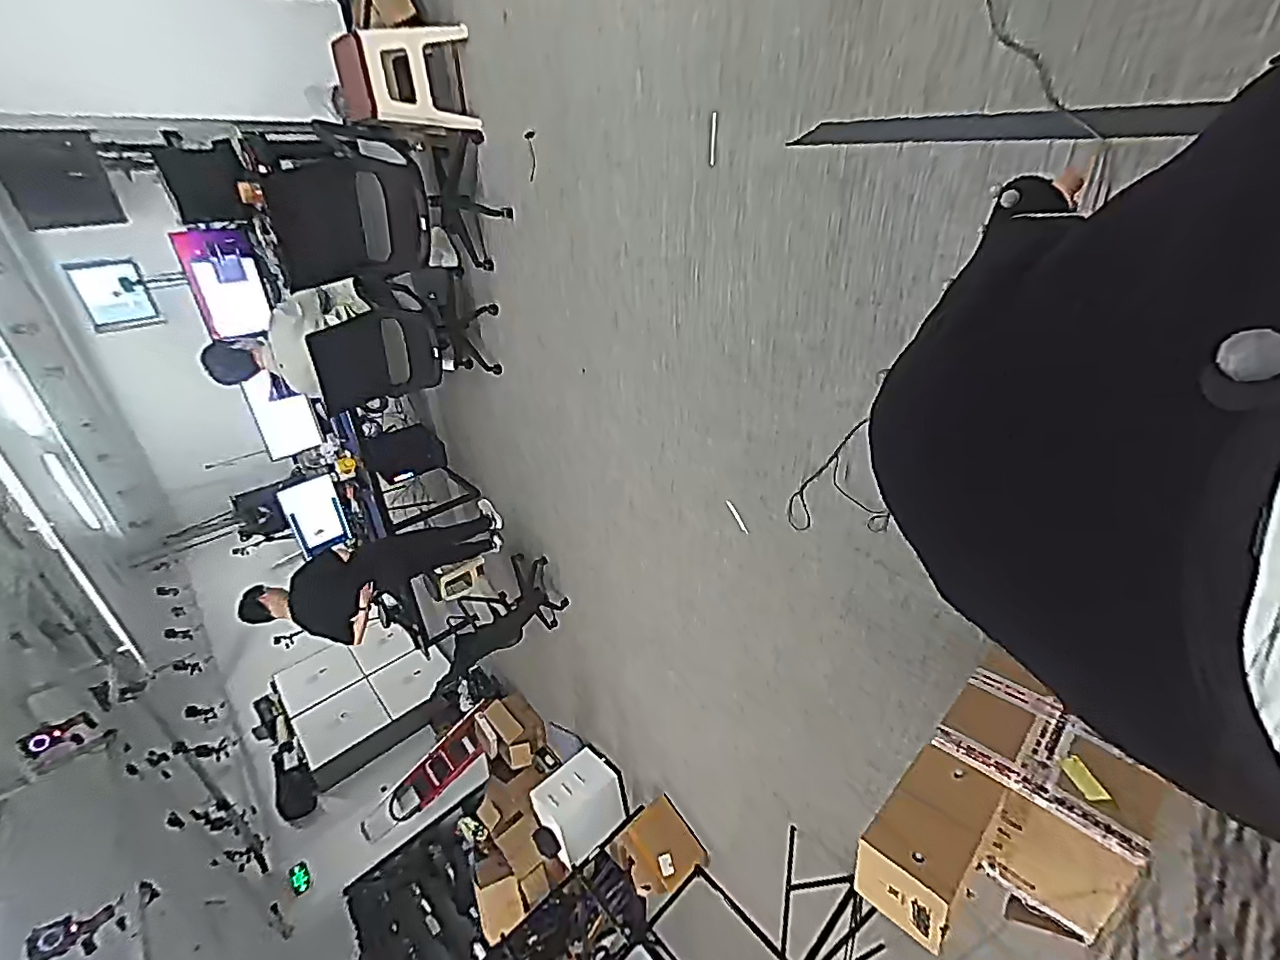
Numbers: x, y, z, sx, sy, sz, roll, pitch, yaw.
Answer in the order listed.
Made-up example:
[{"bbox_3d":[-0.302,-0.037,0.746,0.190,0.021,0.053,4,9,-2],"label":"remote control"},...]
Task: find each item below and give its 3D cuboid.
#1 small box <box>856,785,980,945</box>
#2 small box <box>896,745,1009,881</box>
[{"bbox_3d":[0.578,0.786,1.125,0.179,0.176,0.168,20,122,45],"label":"small box"},{"bbox_3d":[0.700,0.740,1.228,0.179,0.176,0.168,20,123,45],"label":"small box"}]
